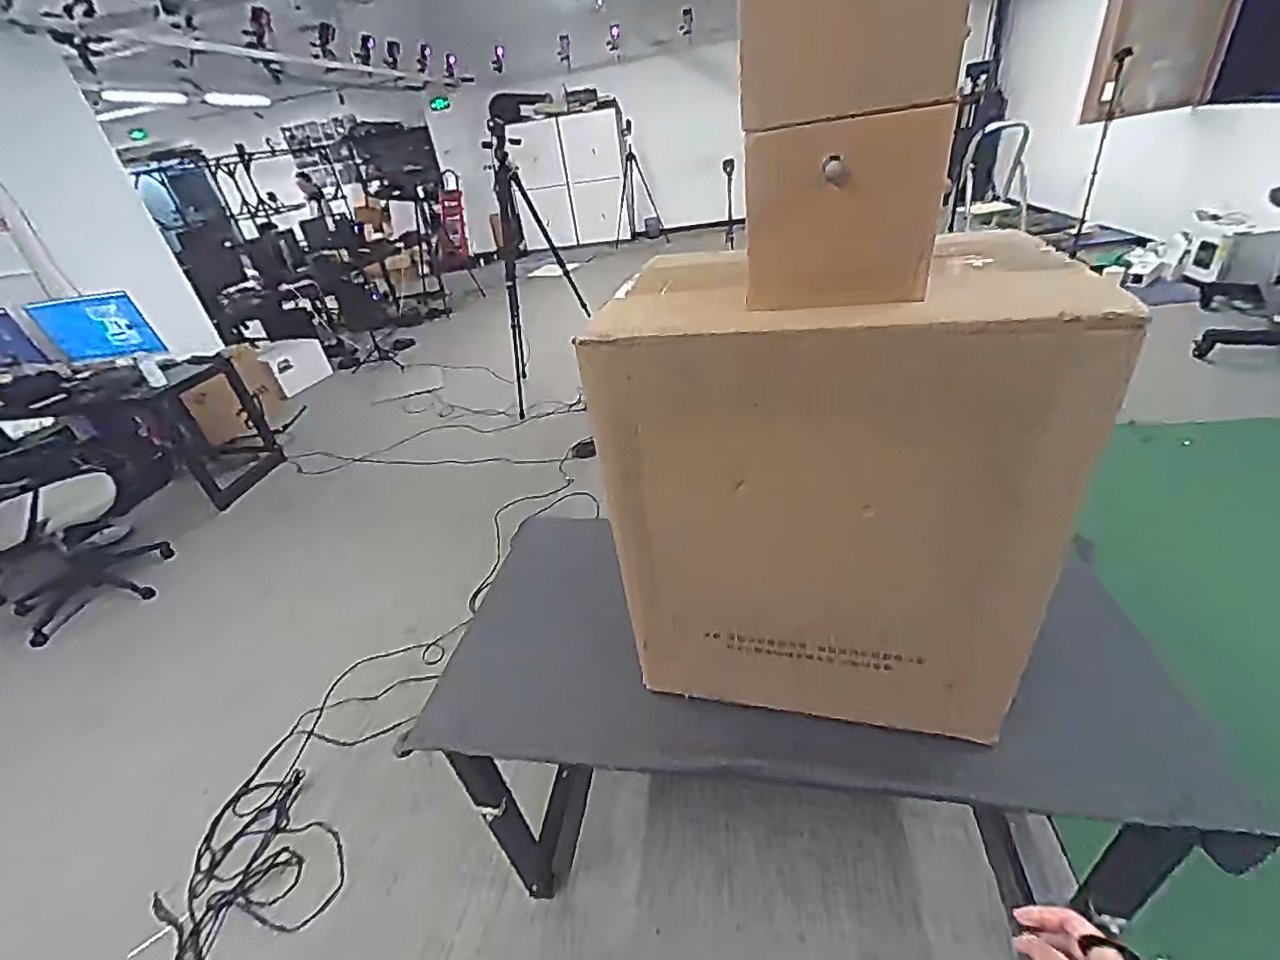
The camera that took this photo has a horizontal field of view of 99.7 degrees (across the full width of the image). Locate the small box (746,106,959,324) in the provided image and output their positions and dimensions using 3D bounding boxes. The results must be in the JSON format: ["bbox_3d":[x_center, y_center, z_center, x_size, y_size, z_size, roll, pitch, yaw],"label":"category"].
[{"bbox_3d":[0.210,-0.276,0.572,0.179,0.176,0.168,2,36,17],"label":"small box"}]
